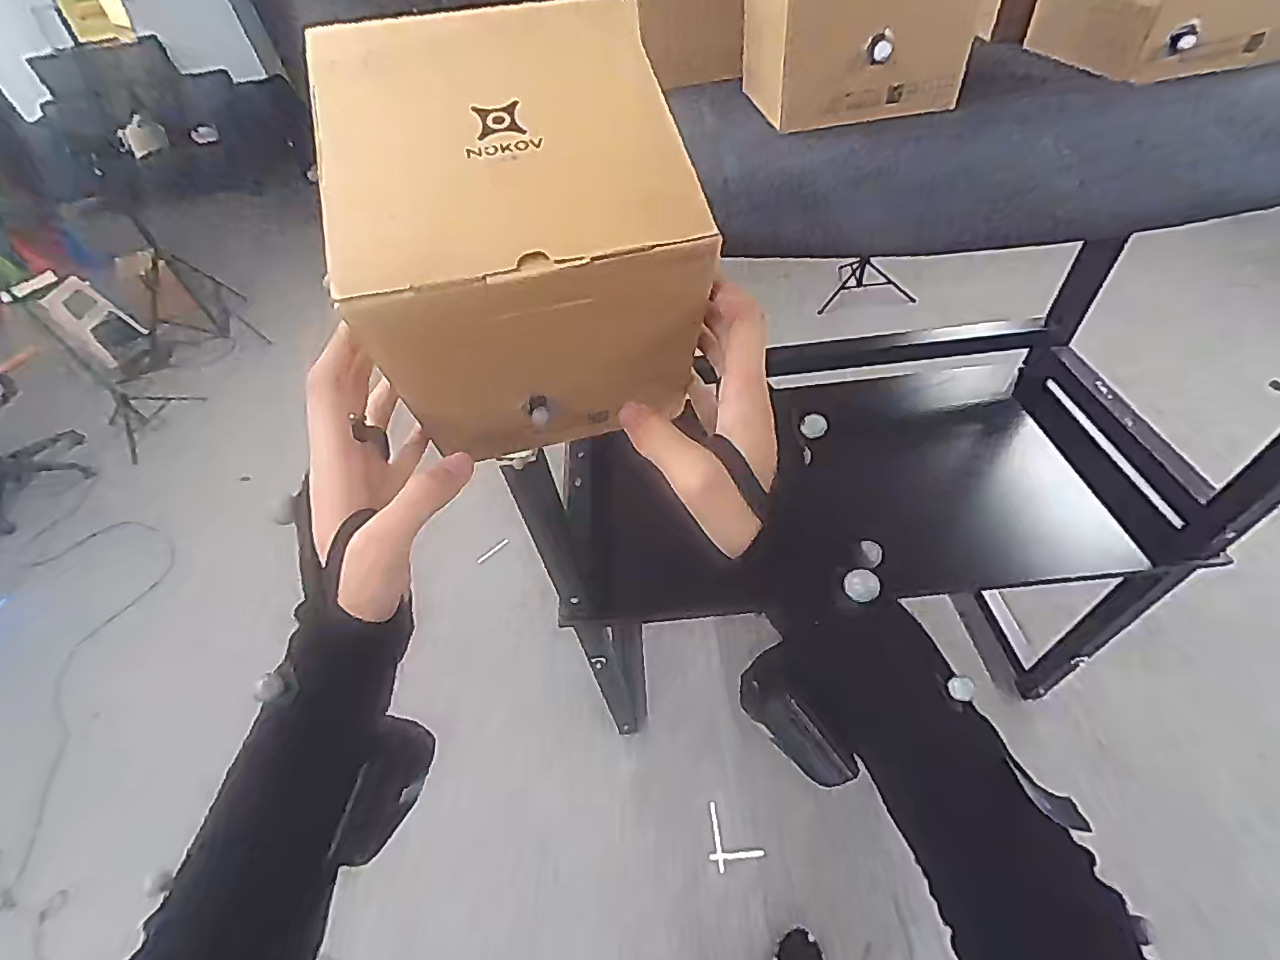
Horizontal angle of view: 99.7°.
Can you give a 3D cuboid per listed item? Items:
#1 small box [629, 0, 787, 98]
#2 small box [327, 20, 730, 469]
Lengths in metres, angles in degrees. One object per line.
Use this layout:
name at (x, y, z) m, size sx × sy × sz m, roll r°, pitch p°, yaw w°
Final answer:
small box at (0.078, -0.593, 0.661) m, size 0.179 × 0.176 × 0.168 m, roll -8°, pitch 48°, yaw 0°
small box at (-0.065, -0.129, 0.332) m, size 0.168 × 0.176 × 0.179 m, roll -14°, pitch 71°, yaw -9°
